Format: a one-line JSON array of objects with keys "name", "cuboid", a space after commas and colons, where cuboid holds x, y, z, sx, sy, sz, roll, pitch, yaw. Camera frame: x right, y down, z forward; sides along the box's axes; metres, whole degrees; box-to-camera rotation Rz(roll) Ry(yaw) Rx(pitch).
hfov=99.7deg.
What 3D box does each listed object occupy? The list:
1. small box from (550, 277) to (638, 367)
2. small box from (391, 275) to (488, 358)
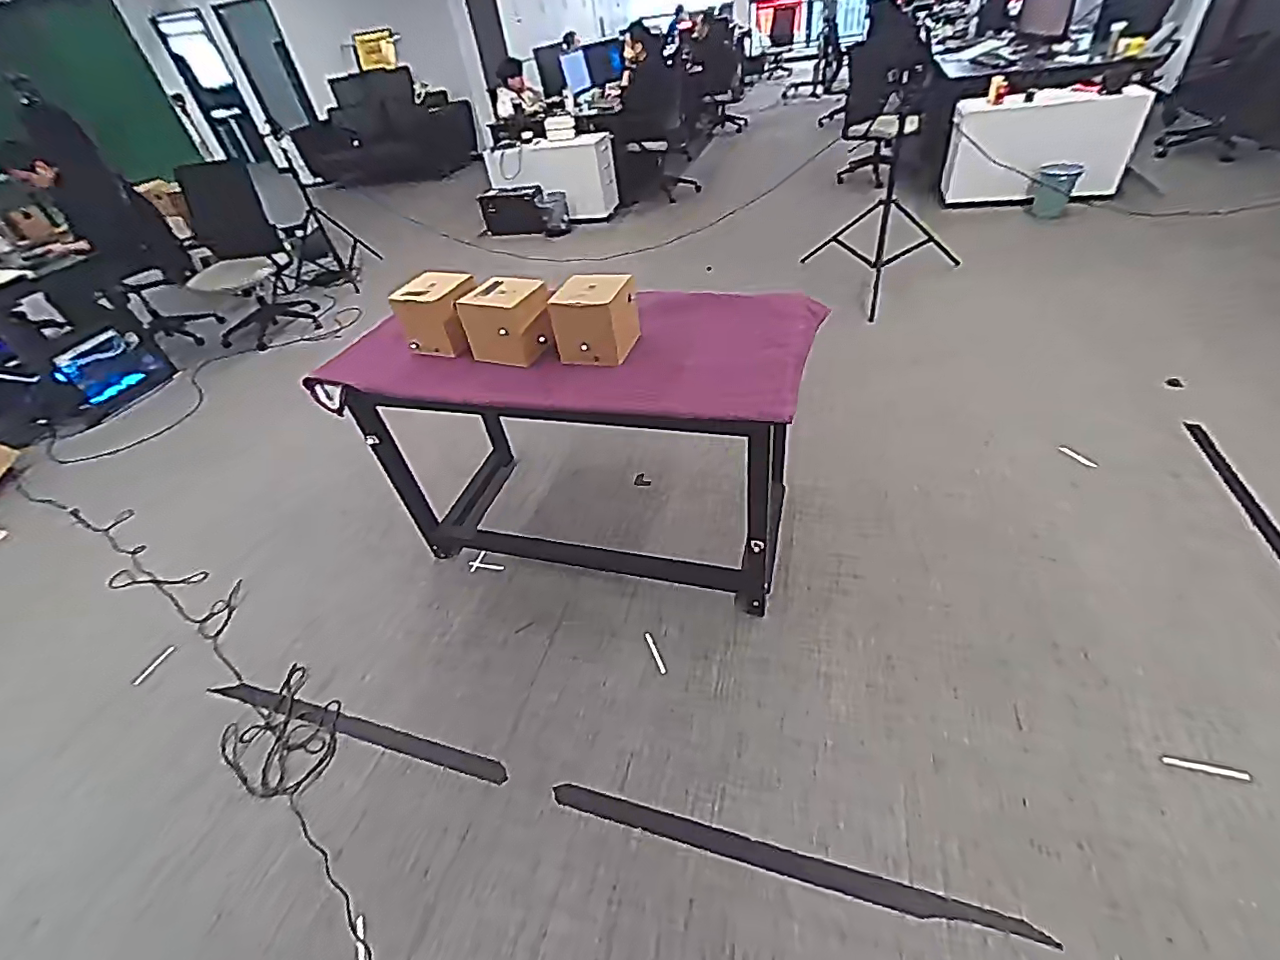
[{"name": "small box", "cuboid": [-0.110, -0.411, 1.398, 0.168, 0.176, 0.179, 7, 44, 18]}, {"name": "small box", "cuboid": [-0.562, -0.467, 1.544, 0.168, 0.176, 0.179, 11, 45, 21]}]
